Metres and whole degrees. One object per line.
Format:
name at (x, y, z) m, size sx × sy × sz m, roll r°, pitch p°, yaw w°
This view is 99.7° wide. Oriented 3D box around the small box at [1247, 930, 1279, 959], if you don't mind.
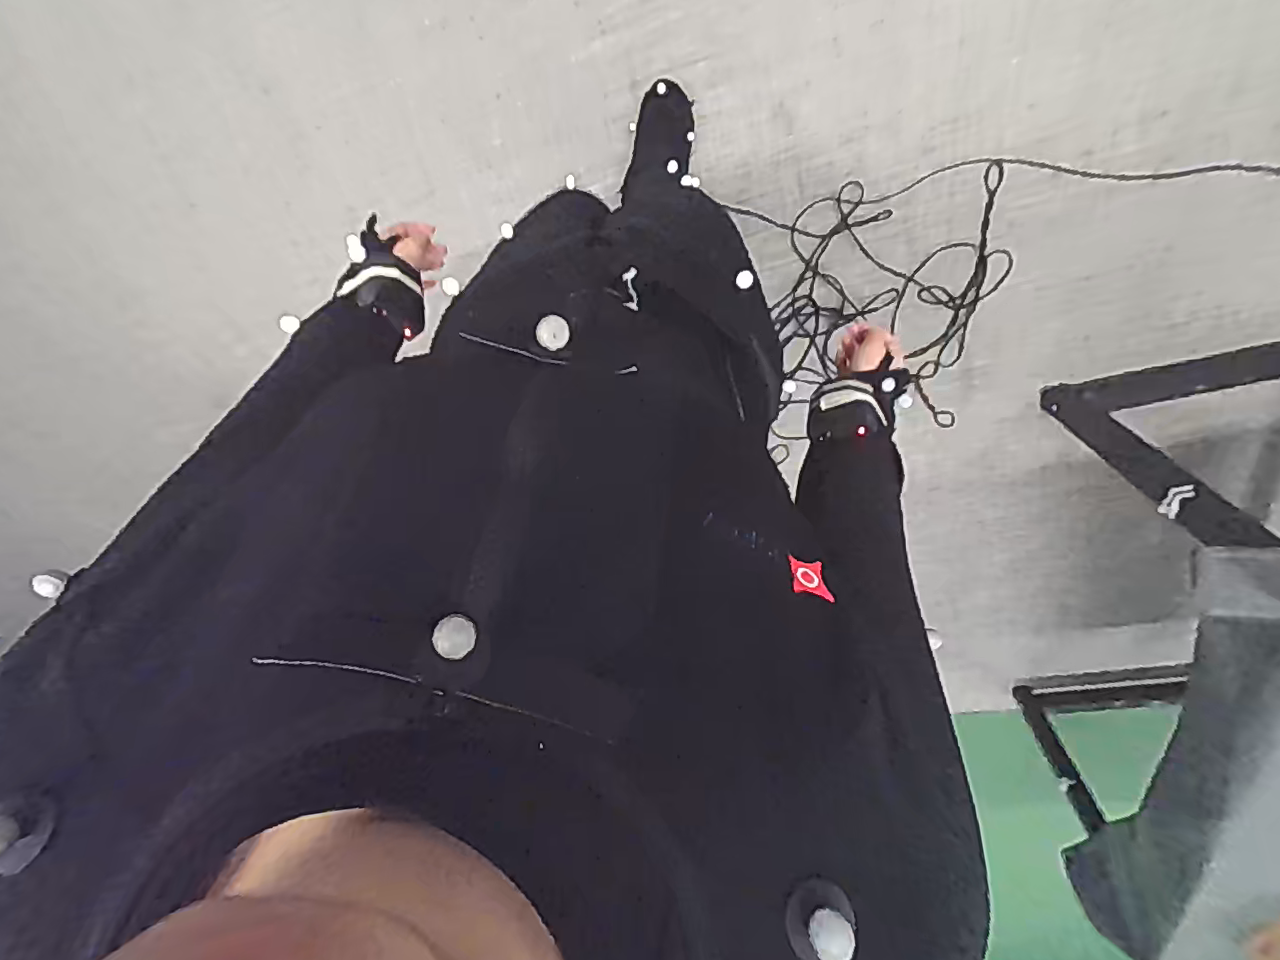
small box at (1.311, 0.944, 0.995) m, size 0.179 × 0.176 × 0.168 m, roll -2°, pitch 124°, yaw 7°
